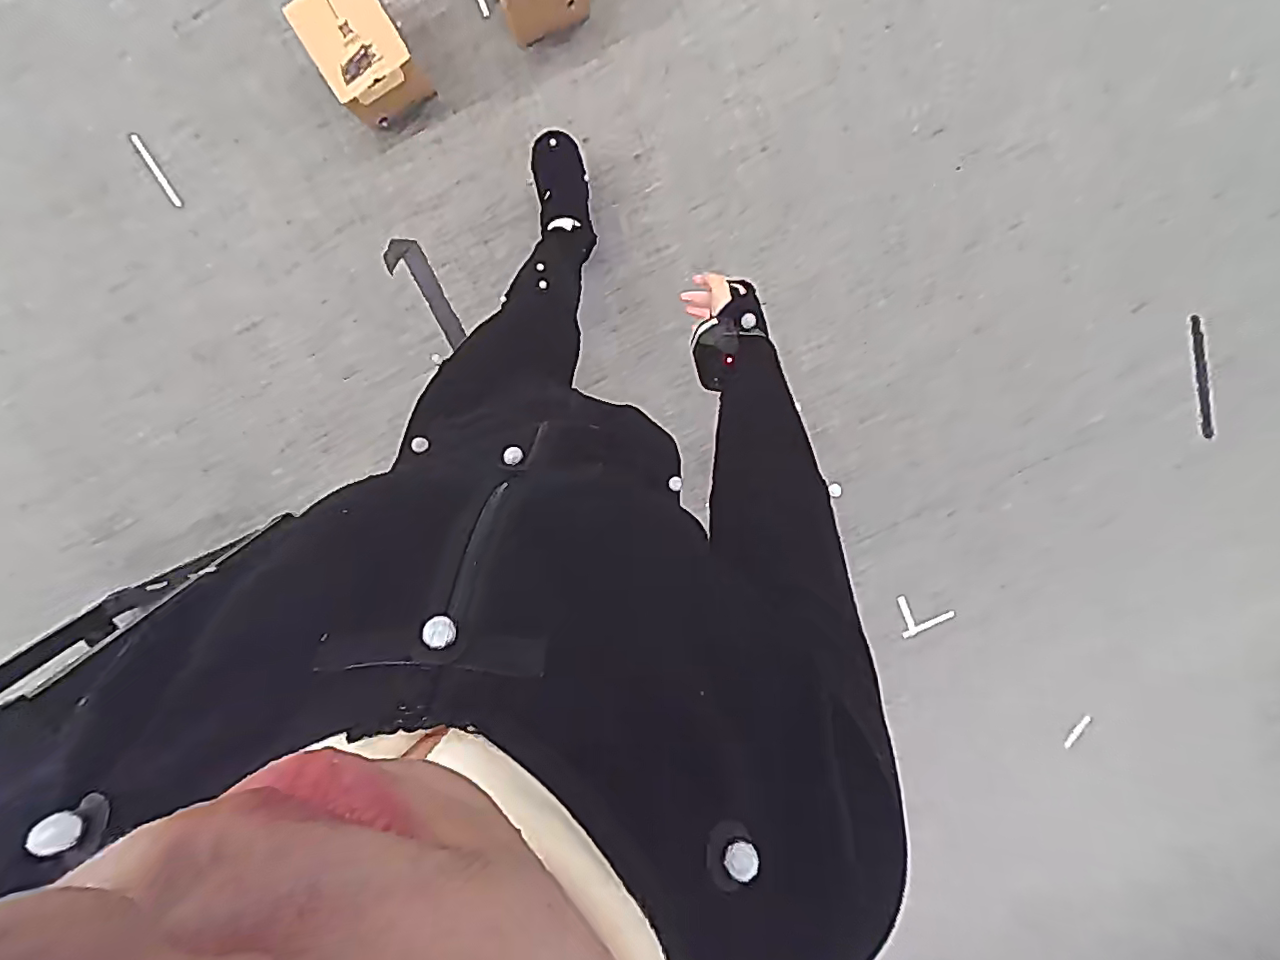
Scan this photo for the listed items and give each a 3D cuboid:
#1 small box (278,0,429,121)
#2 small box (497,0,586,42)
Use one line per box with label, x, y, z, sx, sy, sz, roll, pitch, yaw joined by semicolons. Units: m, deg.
small box;-0.550;-0.850;1.070;0.168;0.176;0.179;-29;108;5
small box;-0.210;-1.006;1.049;0.179;0.176;0.168;-21;109;3
